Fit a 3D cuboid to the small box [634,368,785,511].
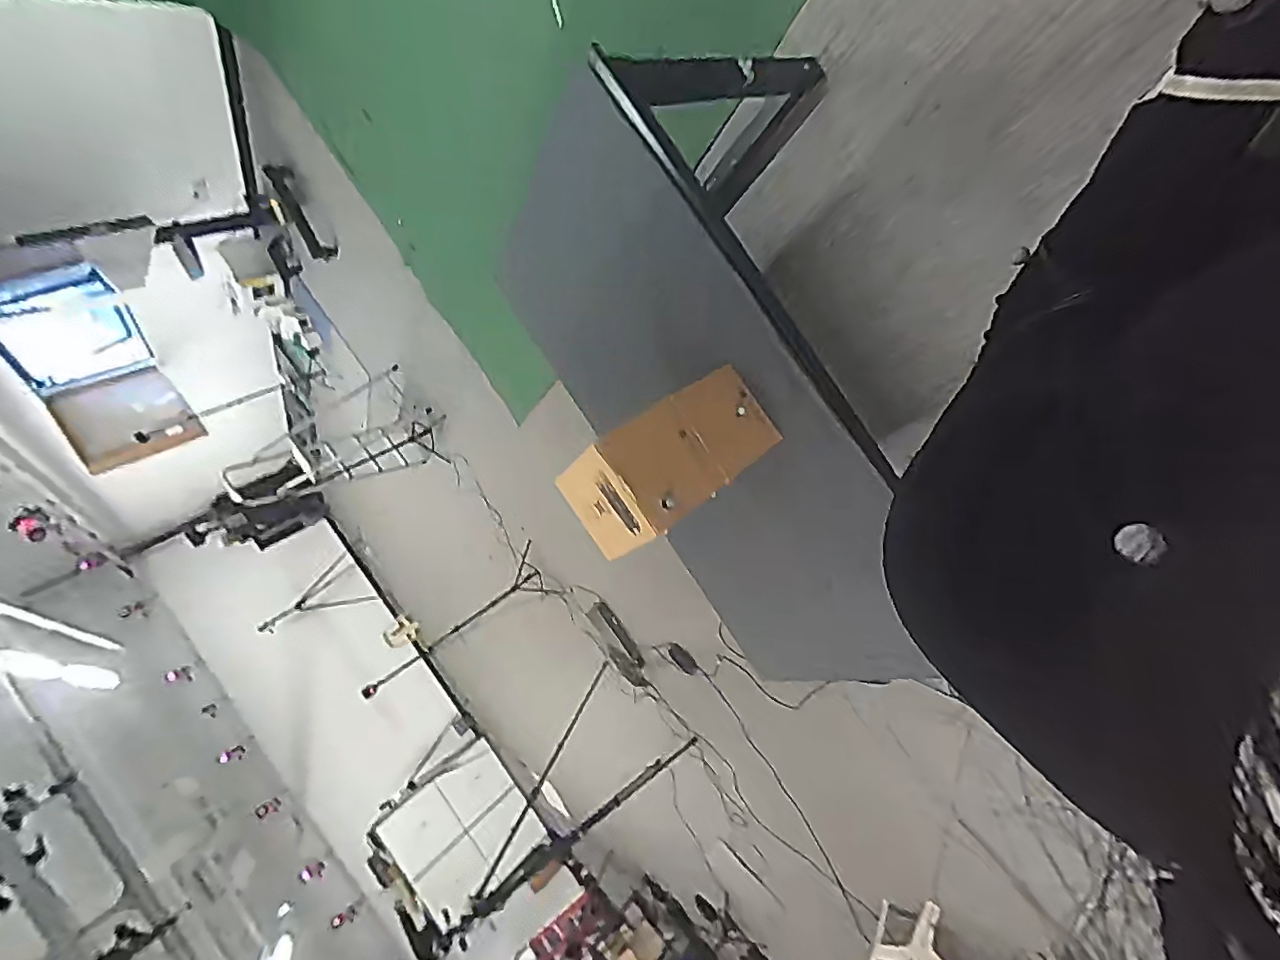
[{"bbox_3d":[0.127,-0.073,0.983,0.168,0.176,0.179,54,146,1],"label":"small box"}]
